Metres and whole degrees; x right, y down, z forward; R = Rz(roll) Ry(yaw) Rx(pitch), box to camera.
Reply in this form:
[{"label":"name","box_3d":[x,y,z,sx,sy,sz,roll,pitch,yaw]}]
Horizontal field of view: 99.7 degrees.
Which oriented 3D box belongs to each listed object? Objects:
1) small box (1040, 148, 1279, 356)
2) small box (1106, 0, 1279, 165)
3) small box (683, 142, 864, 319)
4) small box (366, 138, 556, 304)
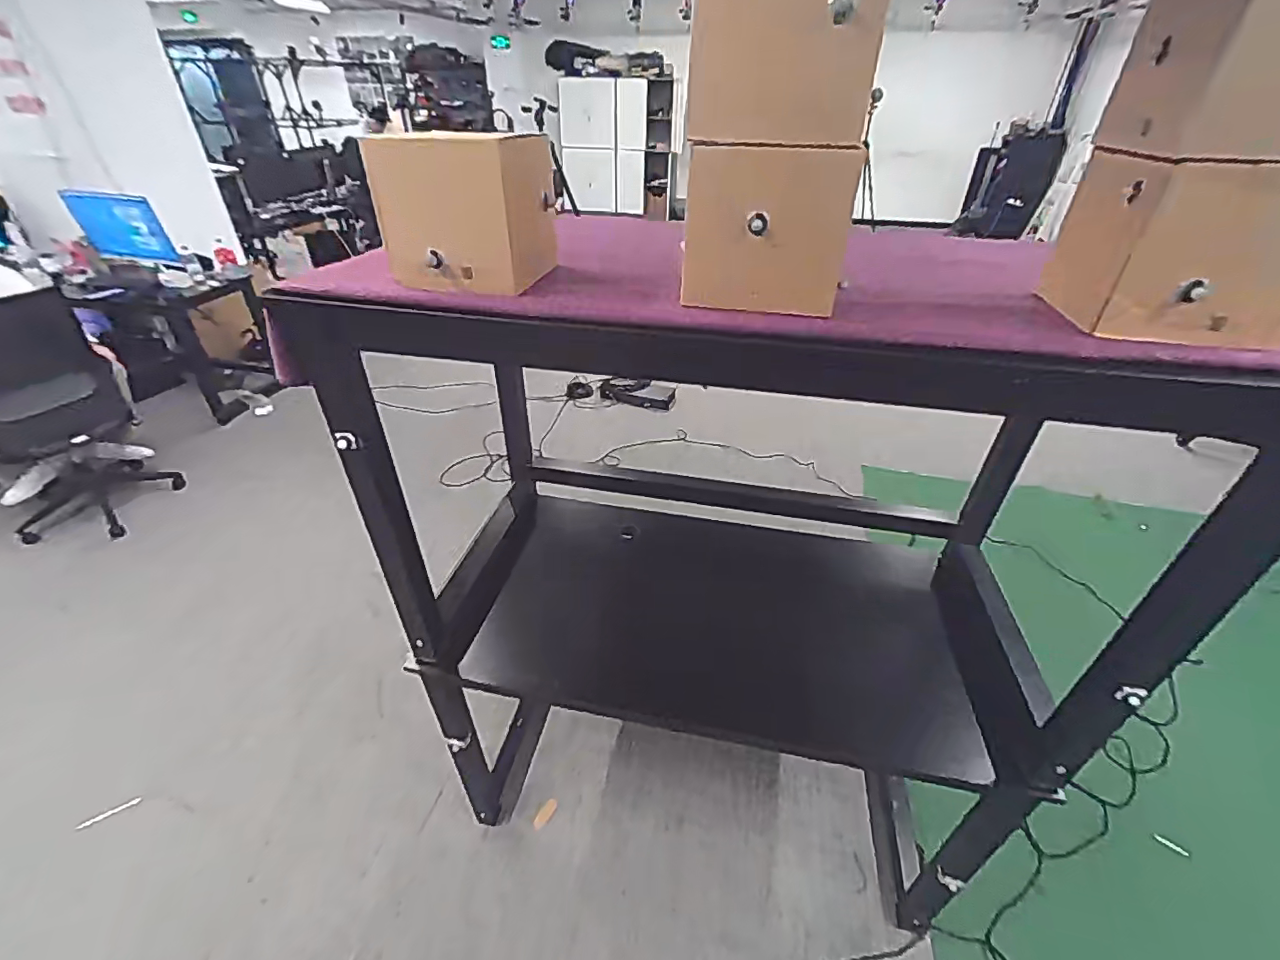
[{"label":"small box","box_3d":[0.575,-0.249,0.580,0.168,0.176,0.179,7,36,11]},{"label":"small box","box_3d":[0.567,-0.381,0.480,0.179,0.176,0.168,7,37,11]},{"label":"small box","box_3d":[0.152,-0.299,0.647,0.179,0.176,0.168,7,34,11]},{"label":"small box","box_3d":[-0.212,-0.339,0.699,0.168,0.176,0.179,6,35,9]}]
